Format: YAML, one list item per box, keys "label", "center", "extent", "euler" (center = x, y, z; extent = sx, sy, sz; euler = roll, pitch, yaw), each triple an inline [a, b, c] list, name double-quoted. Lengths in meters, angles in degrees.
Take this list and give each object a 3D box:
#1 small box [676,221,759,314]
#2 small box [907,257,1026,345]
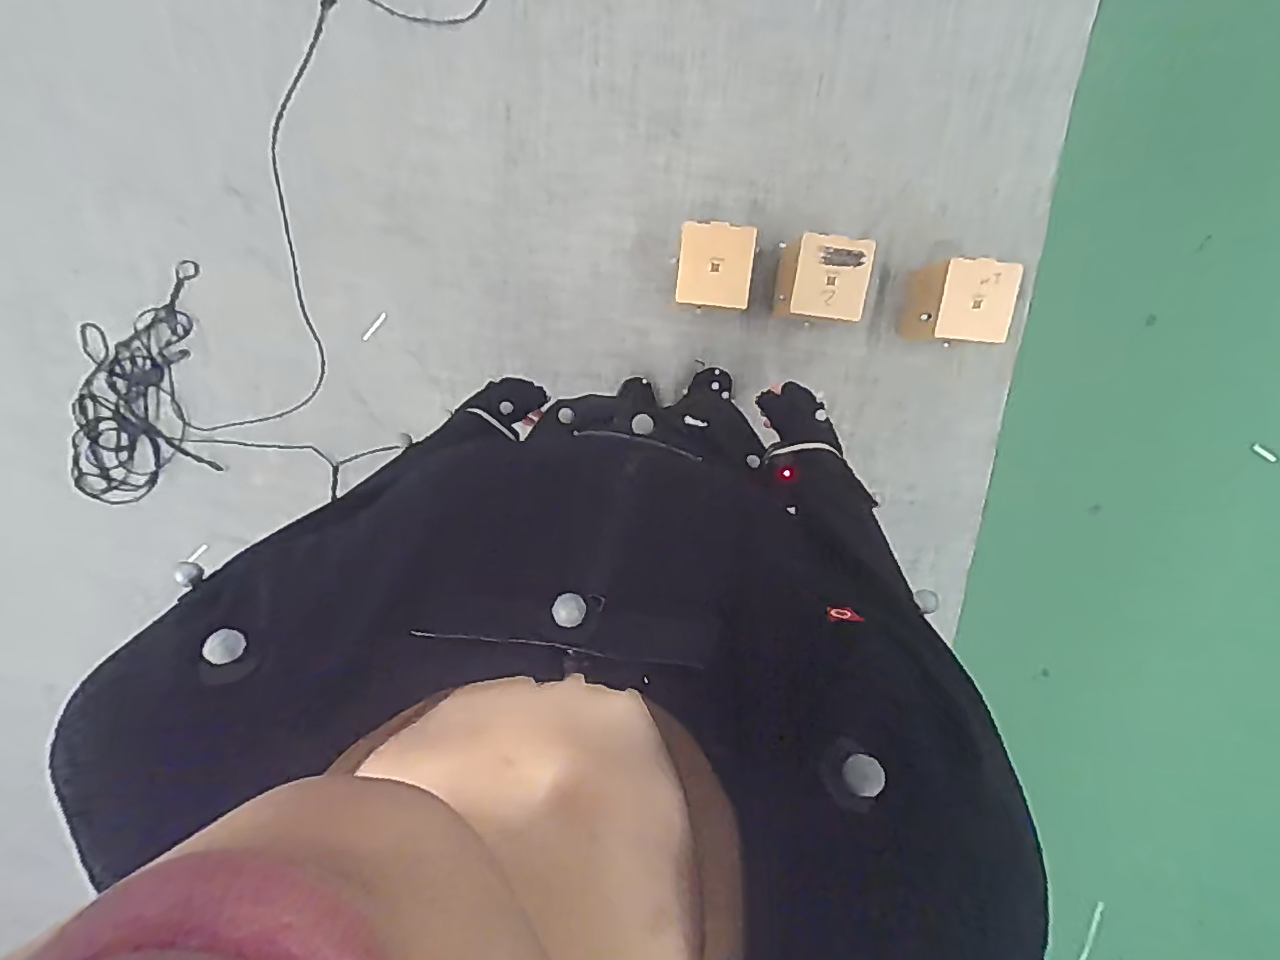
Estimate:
- label: "small box"
  center: [0.175, -0.493, 1.278]
  extent: [0.168, 0.176, 0.179]
  euler: [6, 102, 1]
- label: "small box"
  center: [0.760, -0.415, 1.280]
  extent: [0.168, 0.176, 0.179]
  euler: [6, 102, 0]
